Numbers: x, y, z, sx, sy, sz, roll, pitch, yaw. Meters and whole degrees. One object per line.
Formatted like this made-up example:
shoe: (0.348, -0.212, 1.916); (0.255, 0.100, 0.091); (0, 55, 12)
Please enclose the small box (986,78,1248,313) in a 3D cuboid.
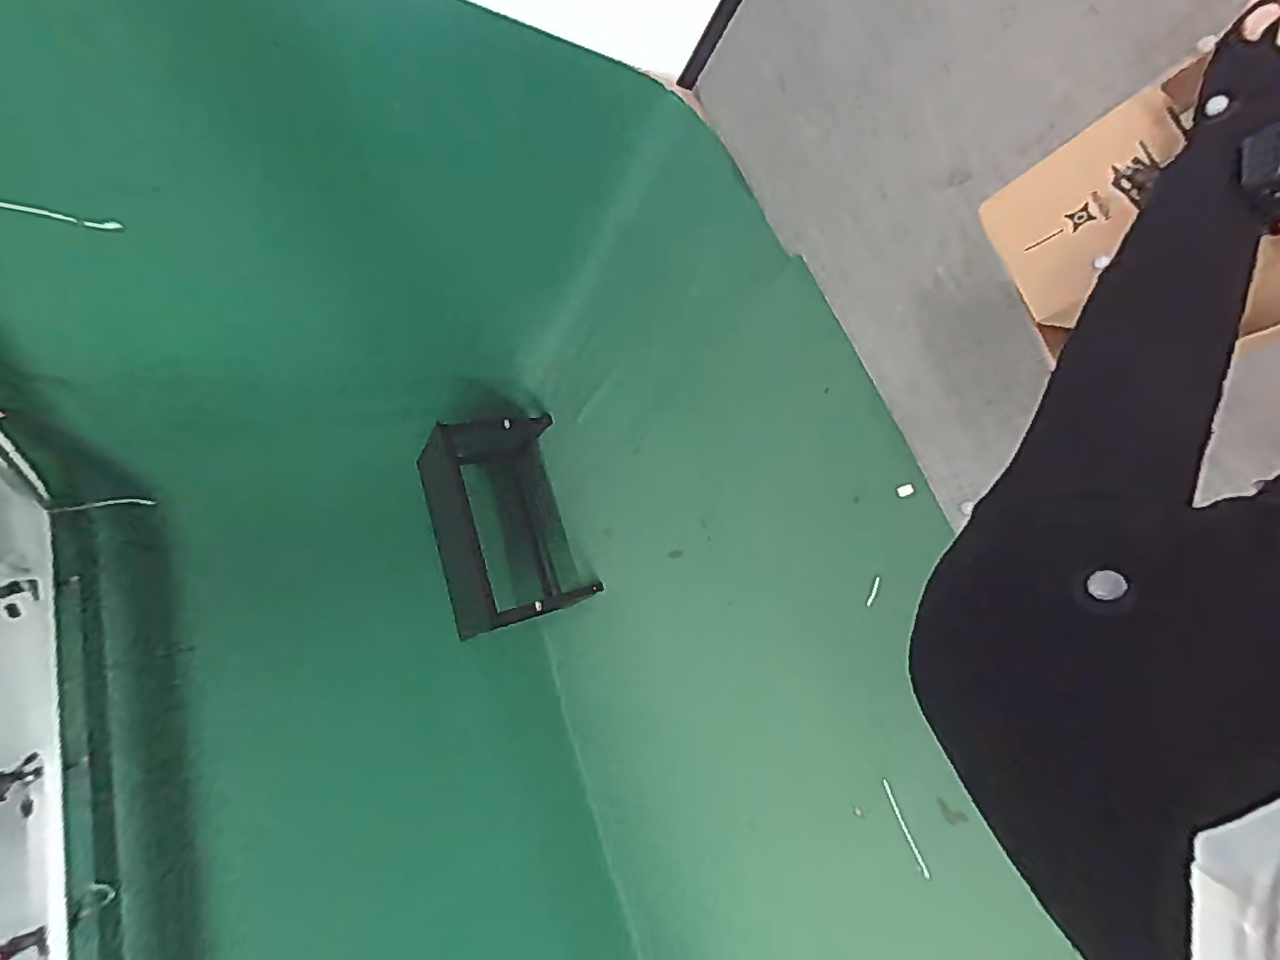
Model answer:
small box: (0.567, -0.318, 0.645); (0.179, 0.176, 0.168); (-33, 71, 53)
